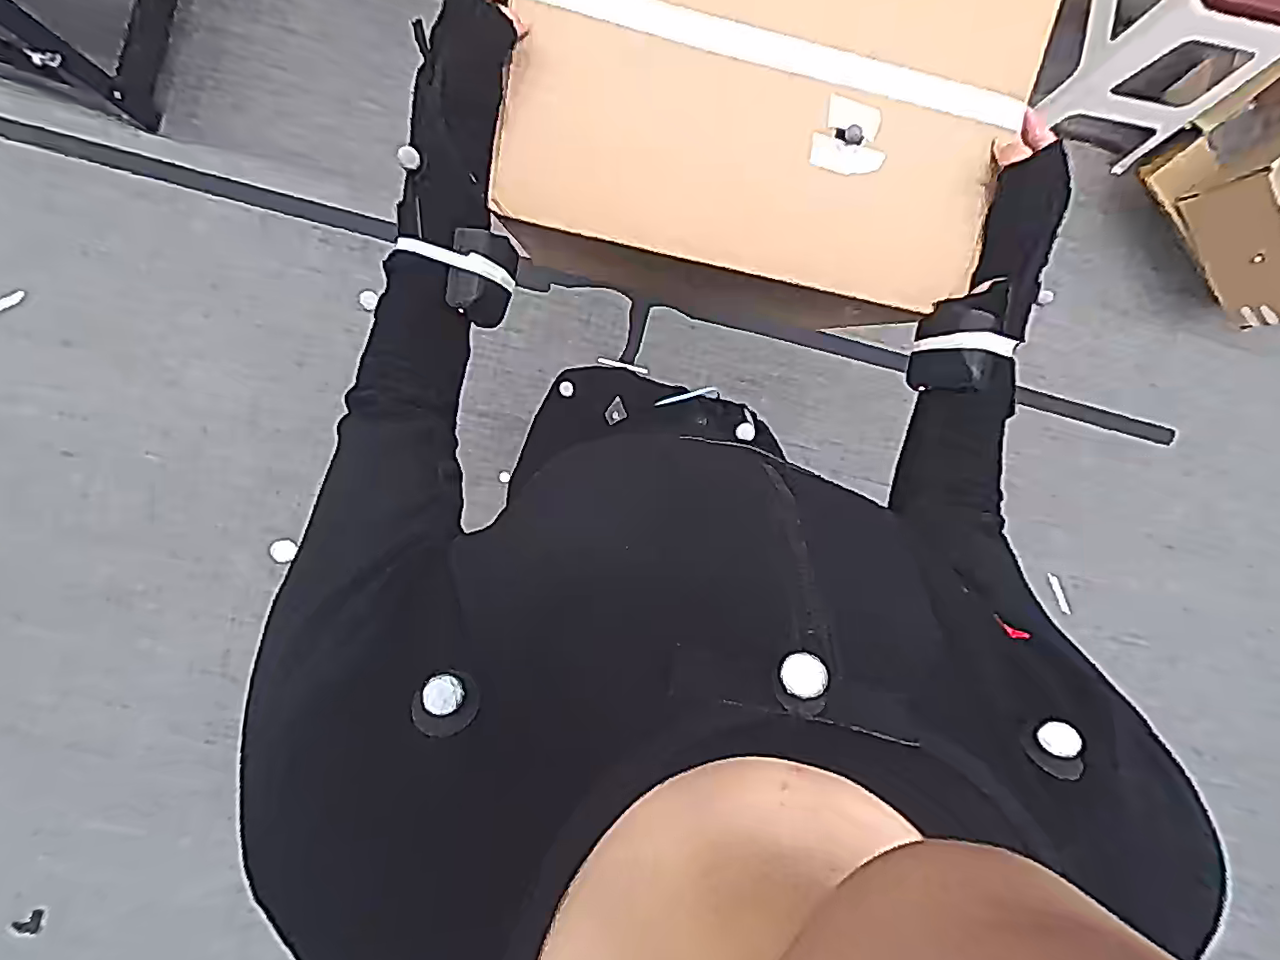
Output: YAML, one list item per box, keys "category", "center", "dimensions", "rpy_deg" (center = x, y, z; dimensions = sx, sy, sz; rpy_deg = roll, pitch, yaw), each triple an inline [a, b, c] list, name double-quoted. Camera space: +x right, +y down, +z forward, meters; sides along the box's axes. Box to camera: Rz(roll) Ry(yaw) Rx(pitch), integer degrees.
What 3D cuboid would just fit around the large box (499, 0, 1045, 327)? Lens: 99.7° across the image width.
- category: "large box"
  center: [0.093, -0.357, 0.567]
  dimensions: [0.408, 0.320, 0.320]
  rpy_deg: [10, 104, -7]
